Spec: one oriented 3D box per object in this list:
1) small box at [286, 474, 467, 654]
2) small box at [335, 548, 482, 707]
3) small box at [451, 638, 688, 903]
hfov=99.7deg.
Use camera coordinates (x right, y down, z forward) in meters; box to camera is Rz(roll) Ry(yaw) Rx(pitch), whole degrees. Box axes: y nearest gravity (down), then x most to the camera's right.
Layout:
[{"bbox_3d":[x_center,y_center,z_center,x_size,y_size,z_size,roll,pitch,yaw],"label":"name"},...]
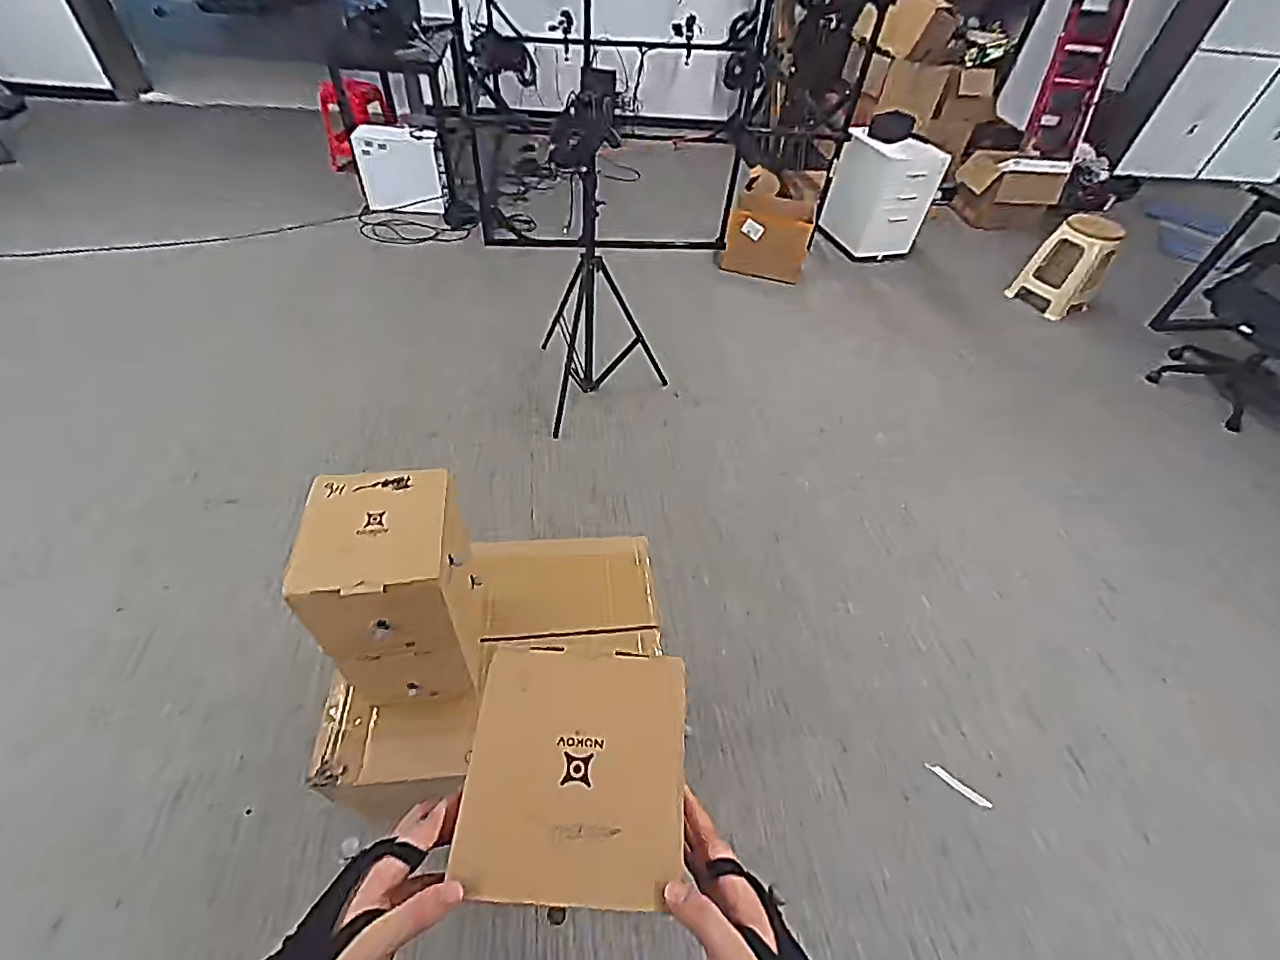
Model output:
[{"bbox_3d":[-0.327,0.115,0.712,0.168,0.176,0.179,-4,50,-11],"label":"small box"},{"bbox_3d":[-0.339,0.226,0.833,0.168,0.176,0.179,-3,49,-9],"label":"small box"},{"bbox_3d":[-0.049,0.261,0.484,0.168,0.176,0.179,4,54,0],"label":"small box"}]
